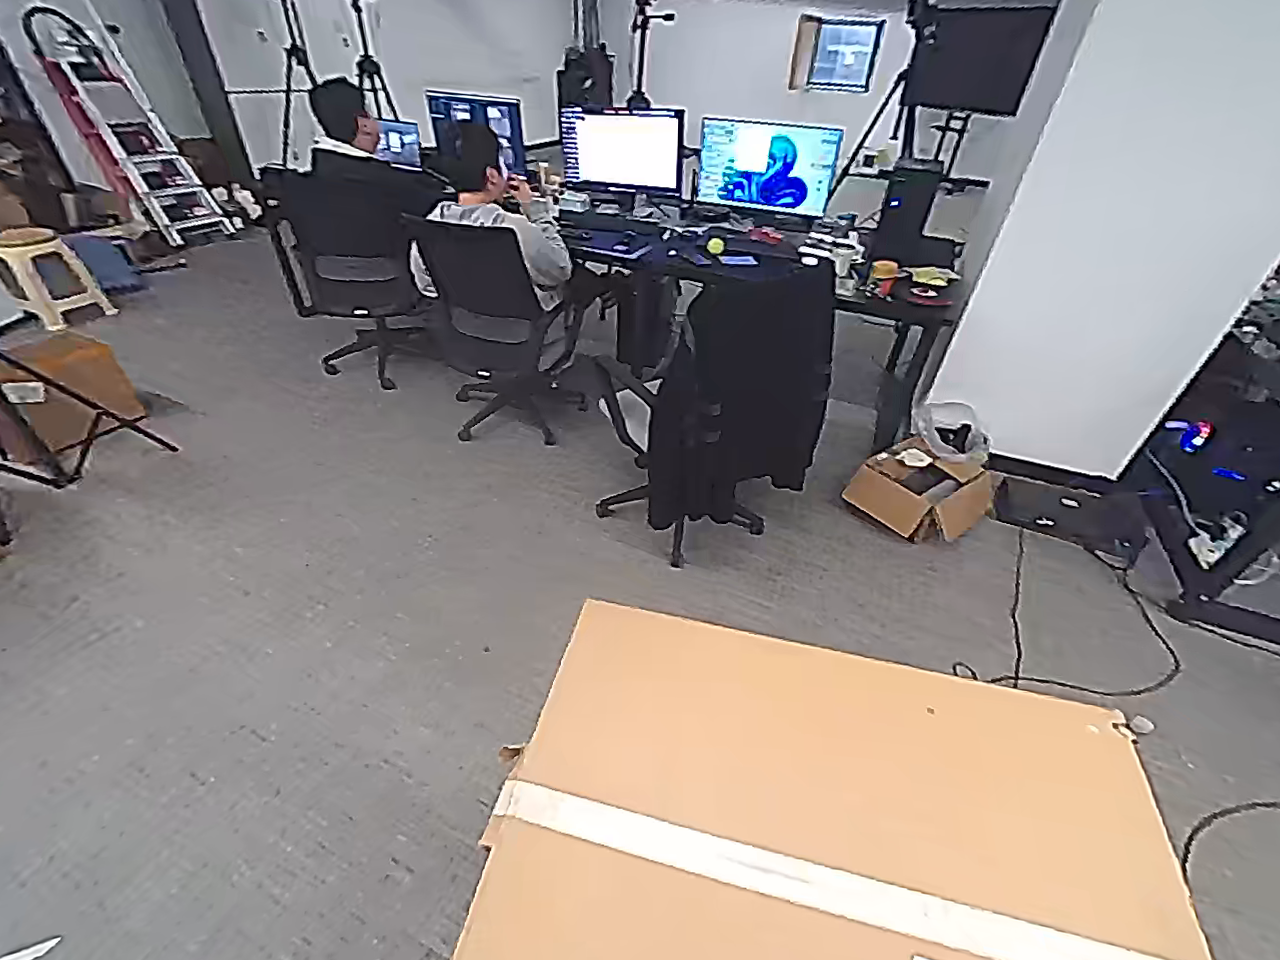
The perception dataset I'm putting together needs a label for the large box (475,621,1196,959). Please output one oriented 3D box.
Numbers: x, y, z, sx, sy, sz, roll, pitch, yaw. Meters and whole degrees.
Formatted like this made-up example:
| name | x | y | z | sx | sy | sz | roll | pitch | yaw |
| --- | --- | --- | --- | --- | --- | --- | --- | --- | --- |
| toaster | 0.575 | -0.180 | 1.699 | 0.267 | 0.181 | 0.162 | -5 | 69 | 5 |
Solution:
| name | x | y | z | sx | sy | sz | roll | pitch | yaw |
| --- | --- | --- | --- | --- | --- | --- | --- | --- | --- |
| large box | 0.114 | 0.356 | 0.430 | 0.408 | 0.320 | 0.320 | 9 | 47 | 10 |
